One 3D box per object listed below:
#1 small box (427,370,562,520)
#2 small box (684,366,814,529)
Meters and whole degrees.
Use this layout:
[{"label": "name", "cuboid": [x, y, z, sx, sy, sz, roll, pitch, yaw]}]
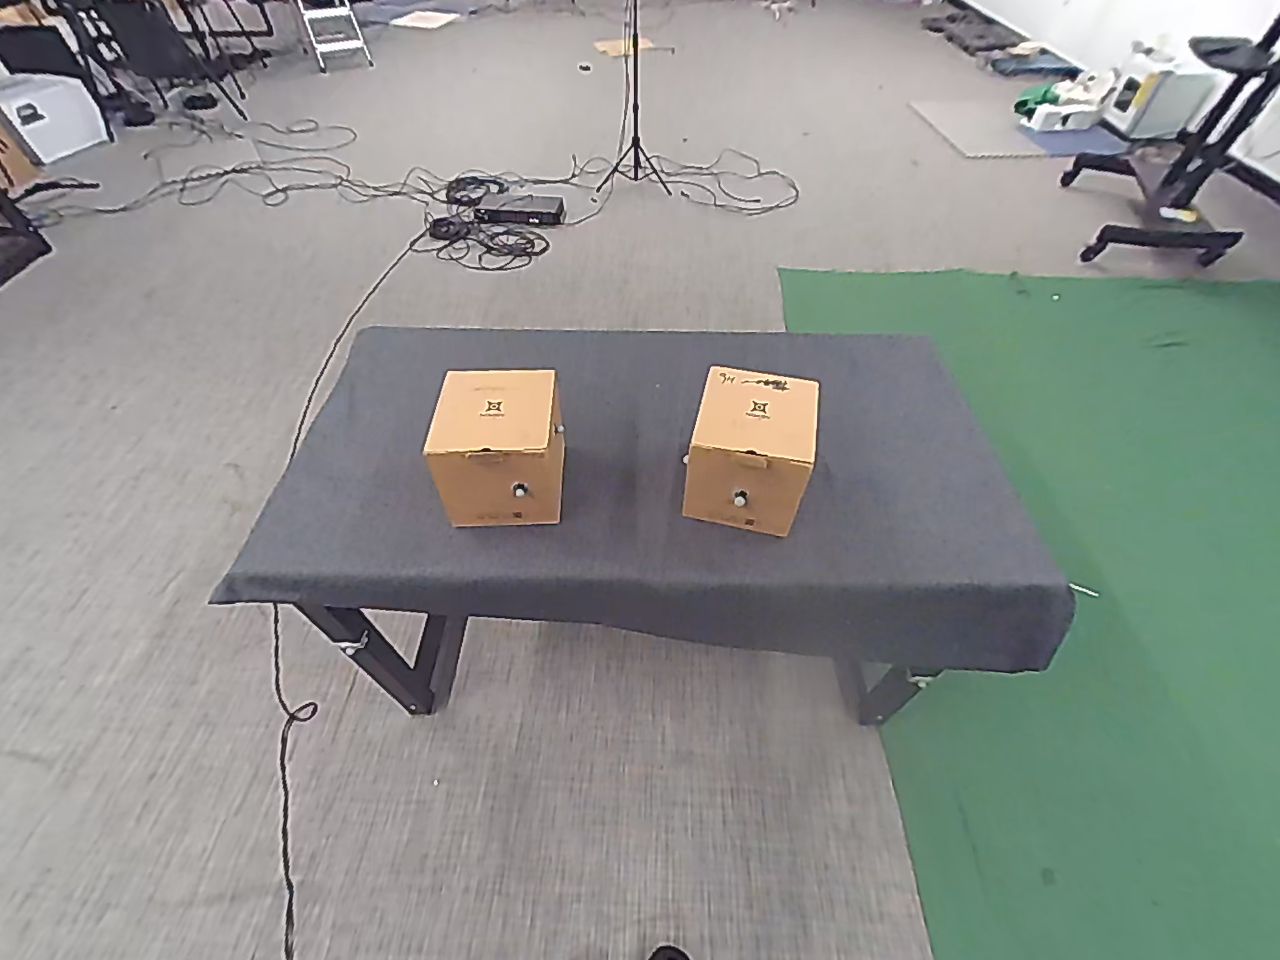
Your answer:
[{"label": "small box", "cuboid": [-0.211, -0.050, 0.839, 0.168, 0.176, 0.179, -1, 48, -4]}, {"label": "small box", "cuboid": [0.164, -0.048, 0.839, 0.168, 0.176, 0.179, 11, 51, 8]}]
